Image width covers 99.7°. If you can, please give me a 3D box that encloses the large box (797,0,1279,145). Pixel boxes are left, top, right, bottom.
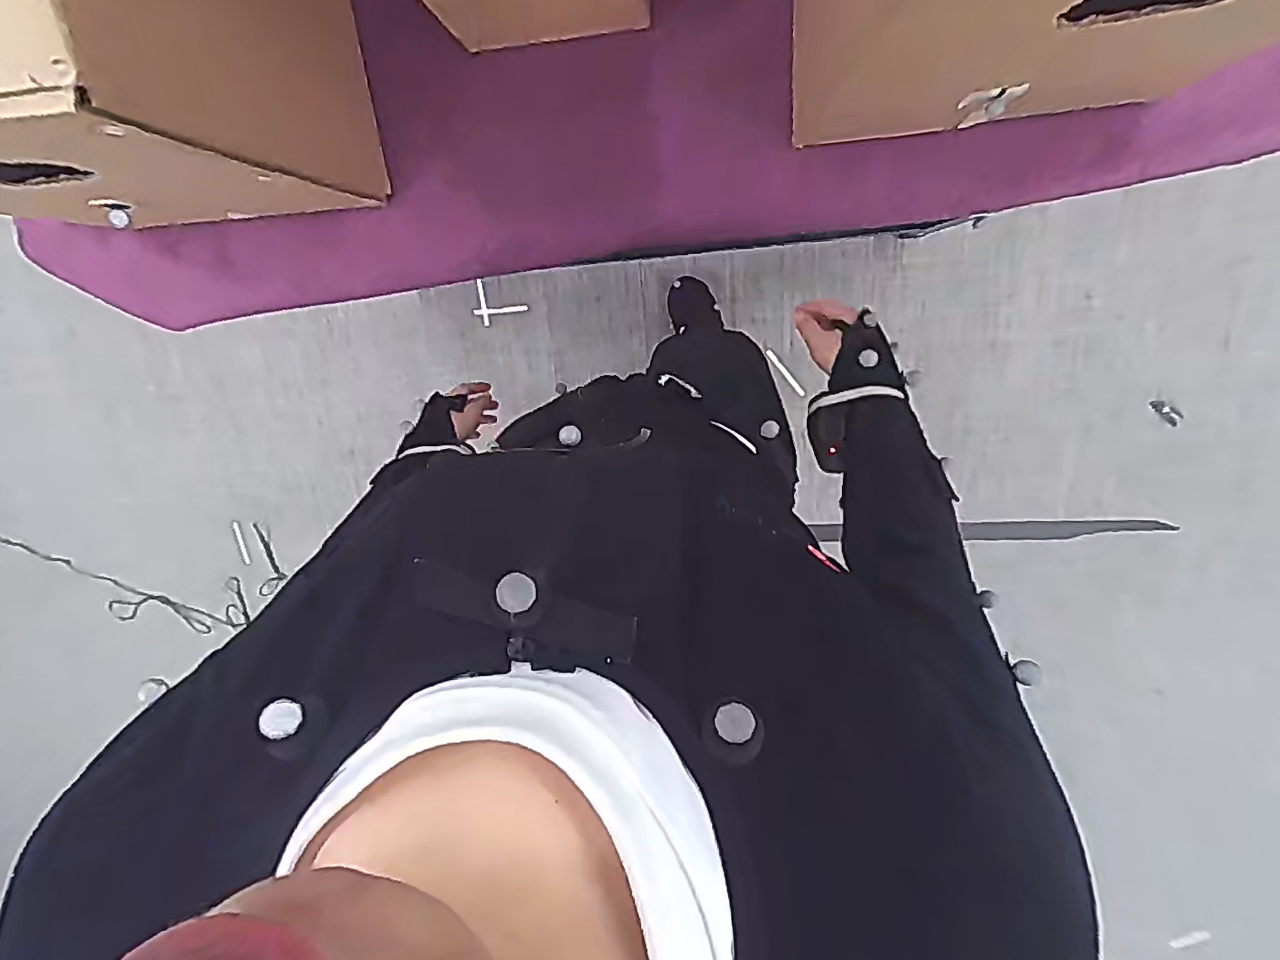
[{"bbox_3d":[0.257,-0.462,0.282,0.320,0.320,0.408,-3,107,7],"label":"large box"}]
